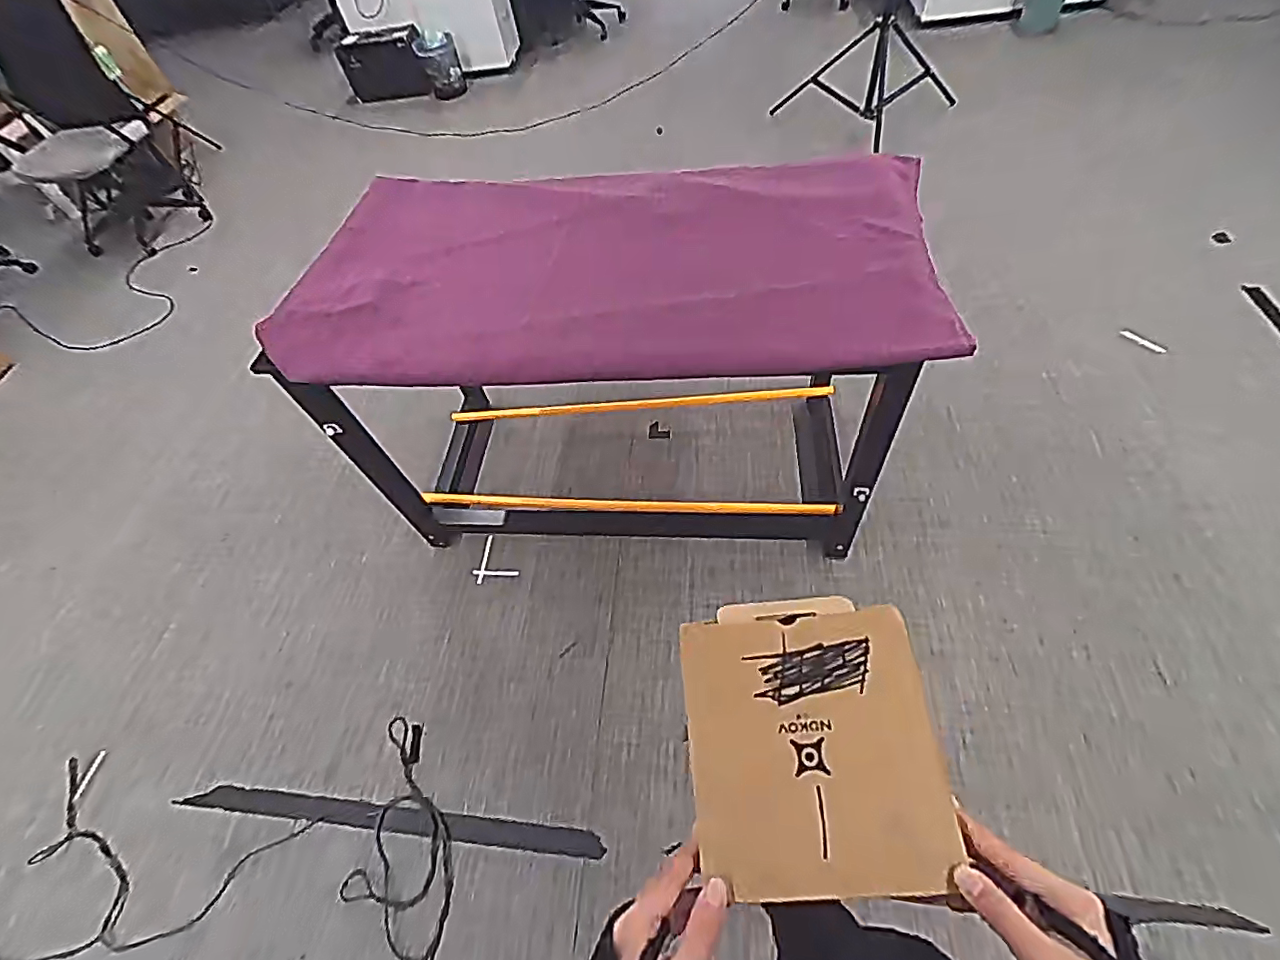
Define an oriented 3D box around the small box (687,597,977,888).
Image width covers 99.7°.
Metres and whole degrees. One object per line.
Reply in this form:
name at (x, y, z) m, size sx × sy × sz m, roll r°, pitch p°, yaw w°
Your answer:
small box at (0.130, 0.207, 0.441) m, size 0.168 × 0.176 × 0.179 m, roll -7°, pitch 63°, yaw 6°
